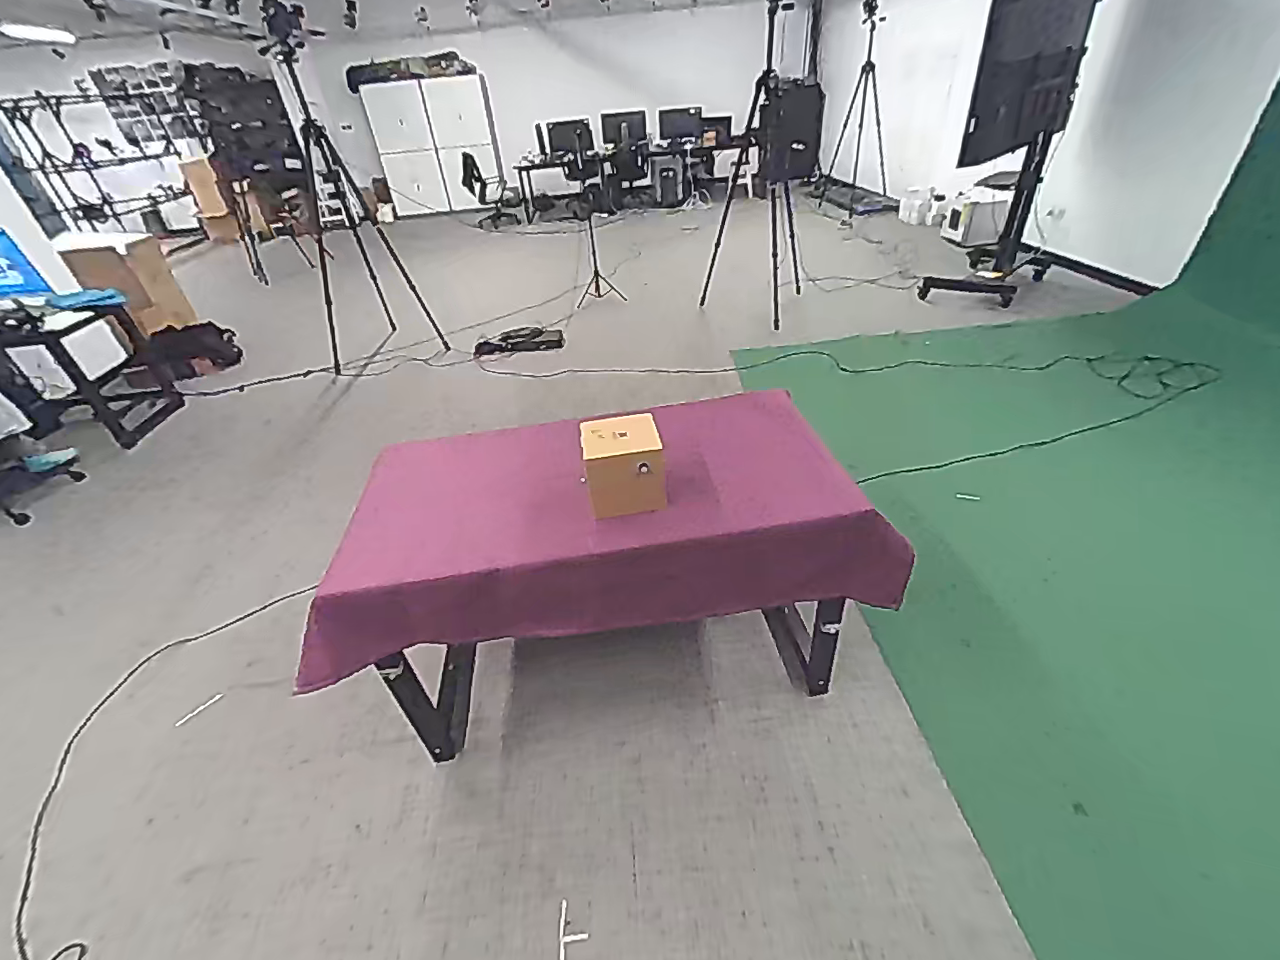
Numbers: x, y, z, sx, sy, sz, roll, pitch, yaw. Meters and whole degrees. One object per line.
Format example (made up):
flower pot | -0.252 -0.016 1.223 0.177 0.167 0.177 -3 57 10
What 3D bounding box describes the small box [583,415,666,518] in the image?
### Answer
small box | -0.035 -0.031 1.269 0.179 0.176 0.168 -9 35 -3
